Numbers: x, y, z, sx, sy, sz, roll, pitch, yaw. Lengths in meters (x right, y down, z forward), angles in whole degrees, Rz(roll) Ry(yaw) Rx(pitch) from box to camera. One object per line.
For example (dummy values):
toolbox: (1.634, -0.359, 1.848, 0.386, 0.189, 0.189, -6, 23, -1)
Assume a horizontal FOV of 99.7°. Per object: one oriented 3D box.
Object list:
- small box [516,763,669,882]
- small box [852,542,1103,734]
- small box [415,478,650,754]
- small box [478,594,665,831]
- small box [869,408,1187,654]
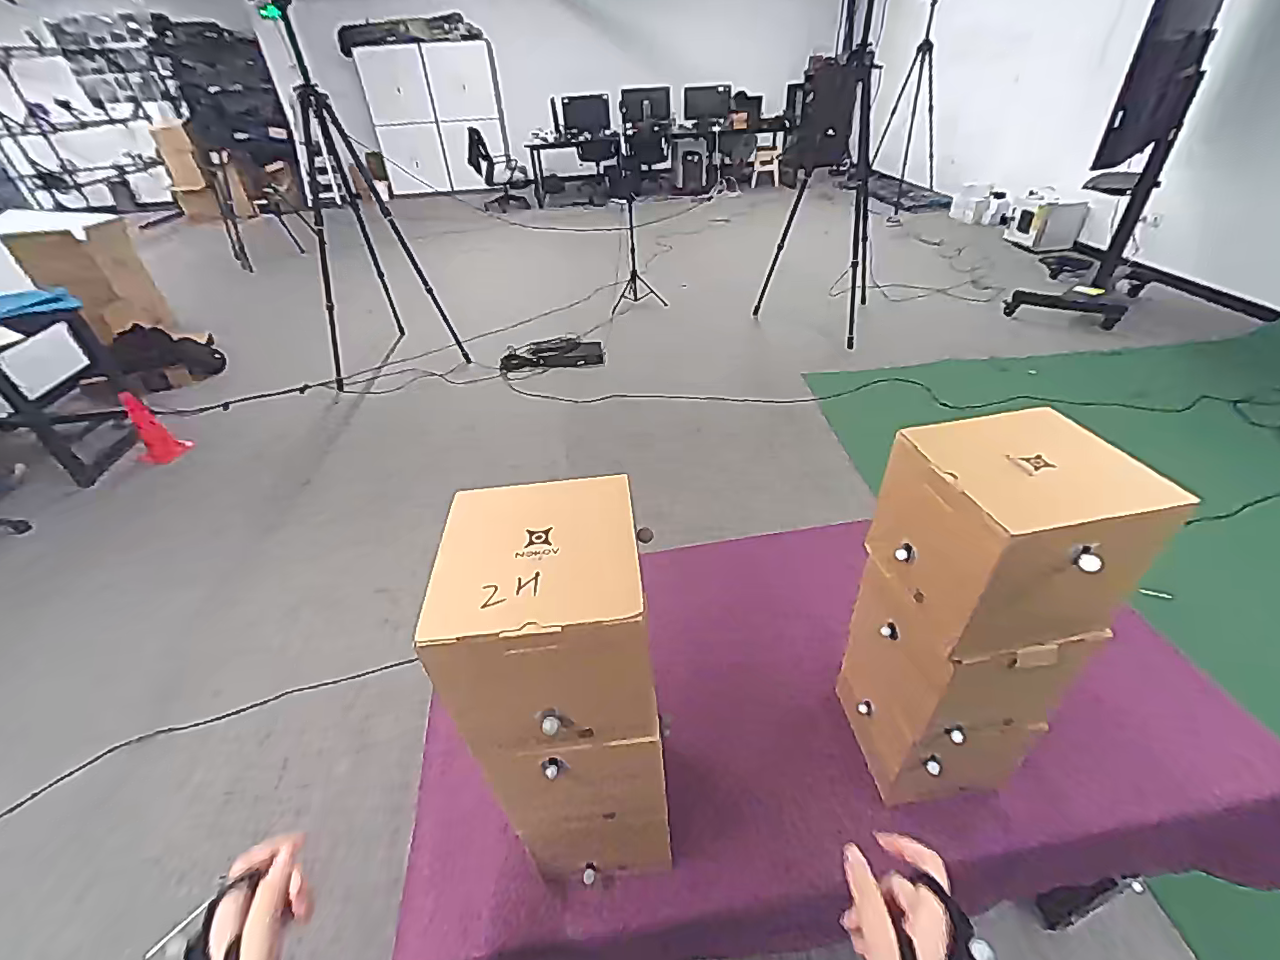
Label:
small box: (-0.053, 0.383, 0.699, 0.168, 0.176, 0.179, -5, 38, 0)
small box: (0.378, 0.180, 0.647, 0.168, 0.176, 0.179, -8, 36, -5)
small box: (-0.083, 0.121, 0.502, 0.168, 0.176, 0.179, -7, 38, -2)
small box: (-0.064, 0.253, 0.599, 0.168, 0.176, 0.179, -6, 36, 0)
small box: (0.363, 0.049, 0.550, 0.179, 0.176, 0.168, -10, 37, -5)
